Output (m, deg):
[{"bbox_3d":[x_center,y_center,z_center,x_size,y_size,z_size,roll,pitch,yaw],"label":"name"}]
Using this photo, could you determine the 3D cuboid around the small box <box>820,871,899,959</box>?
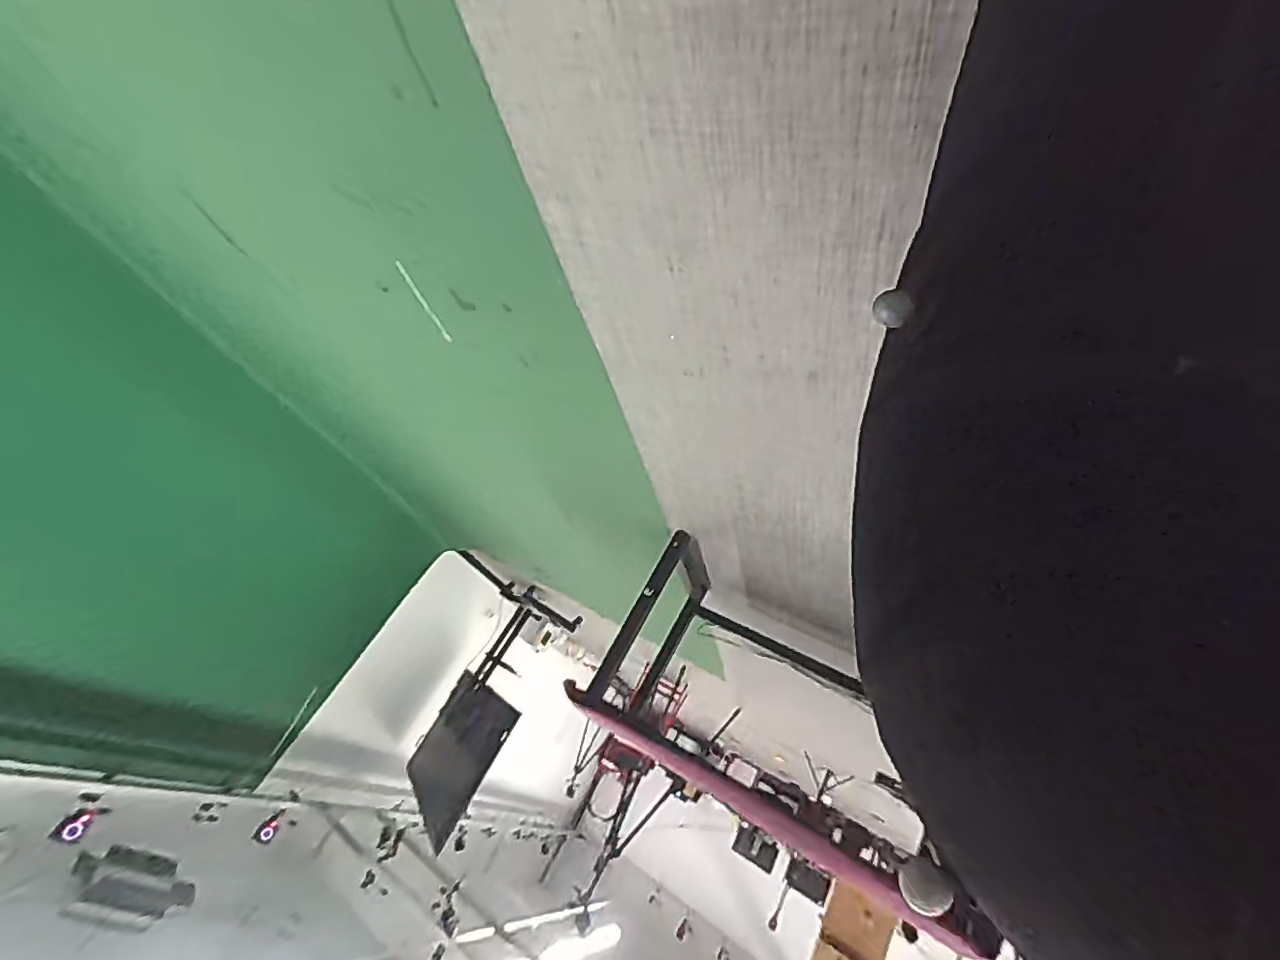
[{"bbox_3d":[0.628,1.256,1.551,0.168,0.176,0.179,19,153,29],"label":"small box"}]

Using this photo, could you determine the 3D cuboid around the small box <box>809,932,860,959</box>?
[{"bbox_3d":[0.542,1.372,1.468,0.168,0.176,0.179,19,153,27],"label":"small box"}]
